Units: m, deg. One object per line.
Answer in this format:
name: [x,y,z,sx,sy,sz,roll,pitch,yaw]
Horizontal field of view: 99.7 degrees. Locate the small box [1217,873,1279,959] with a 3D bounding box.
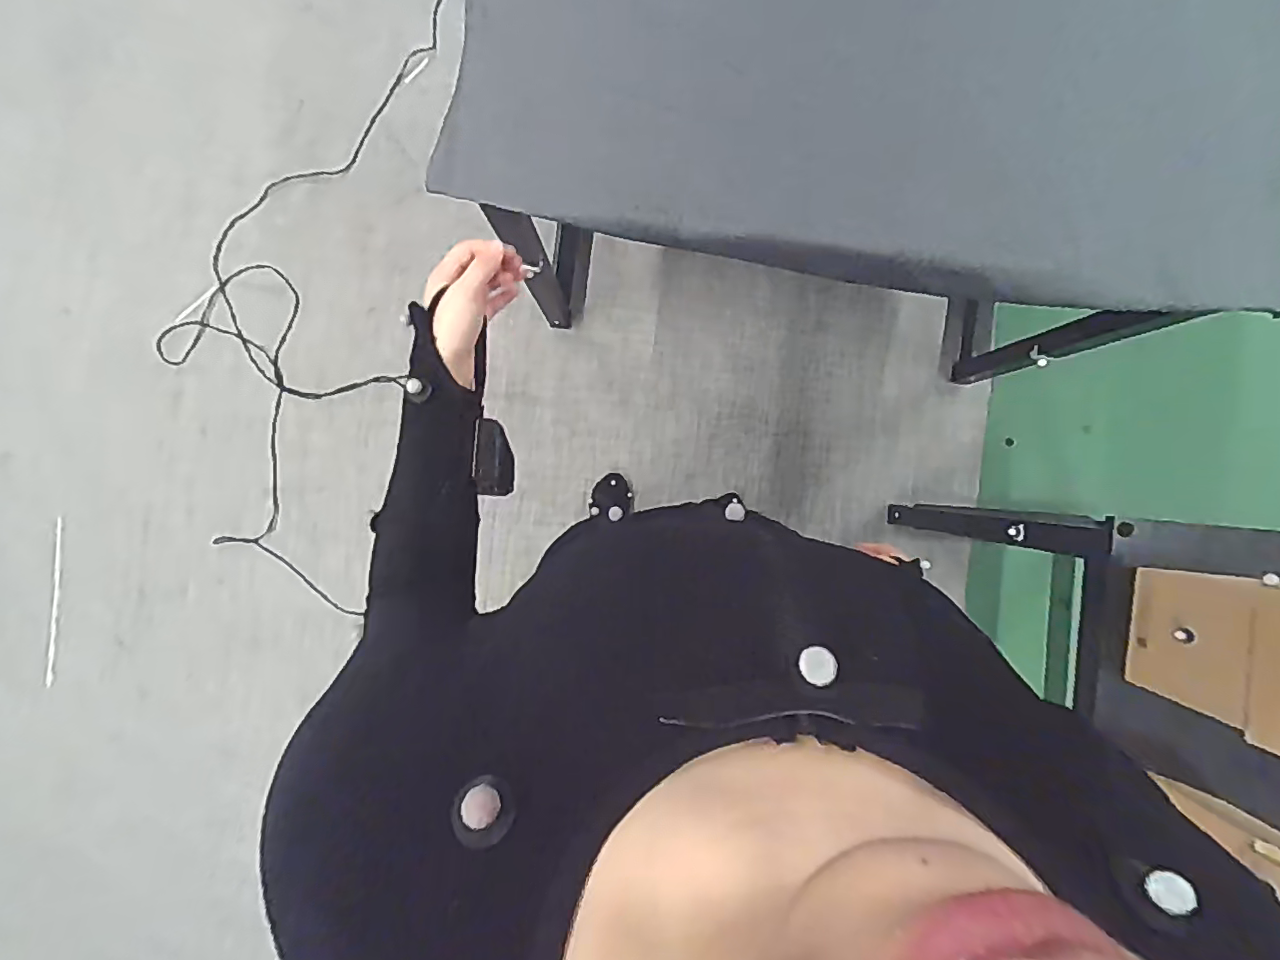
small box: [0.728,0.523,0.516,0.179,0.176,0.168,24,91,0]

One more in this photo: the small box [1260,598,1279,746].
small box: [0.767,0.220,0.516,0.168,0.176,0.179,6,90,1]

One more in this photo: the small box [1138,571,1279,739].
small box: [0.786,0.215,0.678,0.179,0.176,0.168,6,91,0]
